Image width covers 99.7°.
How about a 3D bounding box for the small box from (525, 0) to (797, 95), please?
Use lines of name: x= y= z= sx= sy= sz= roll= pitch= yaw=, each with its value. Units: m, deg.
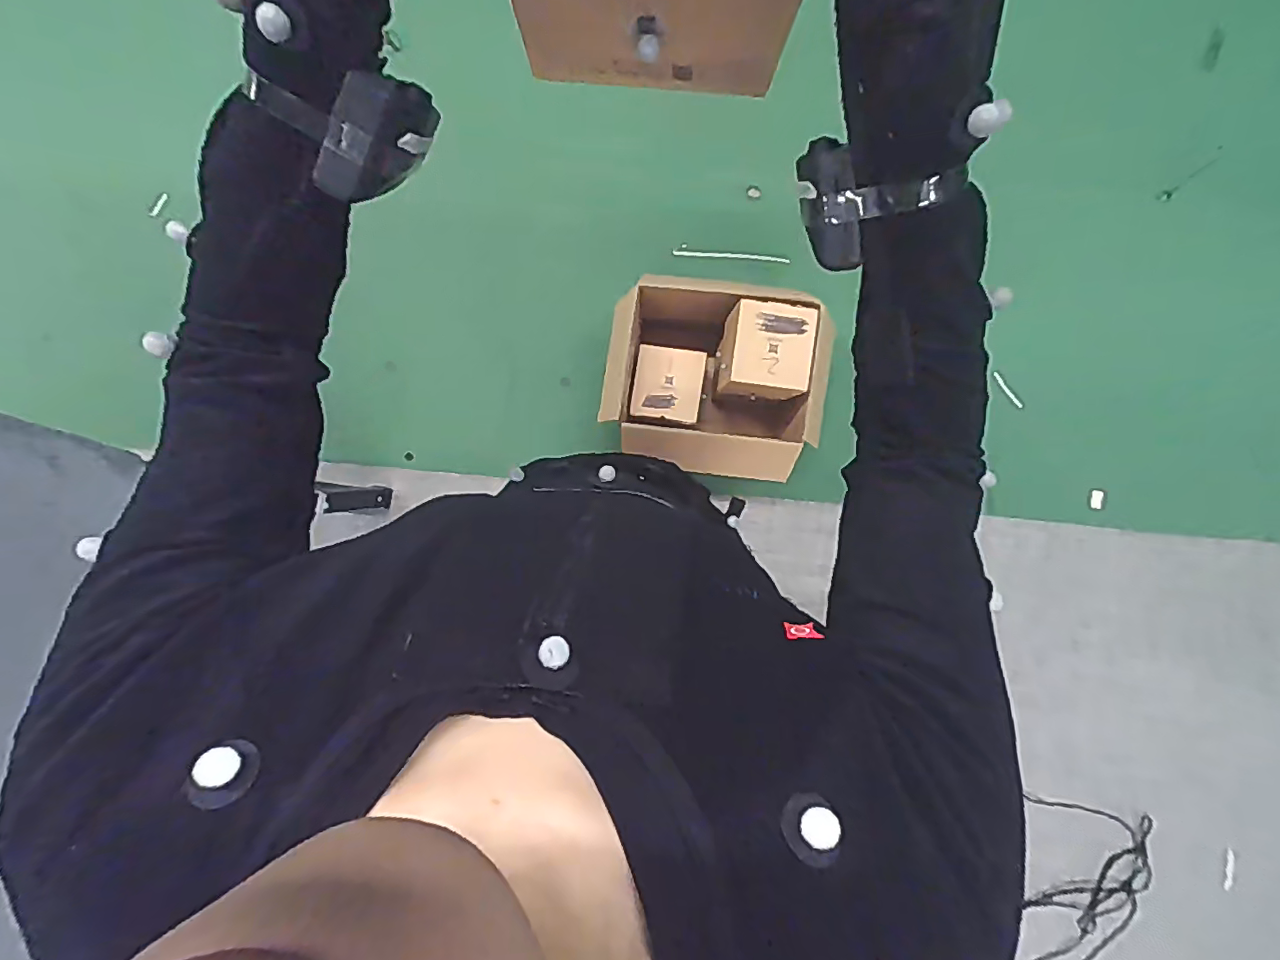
small box: x=0.014 y=-0.358 z=0.293 sx=0.168 sy=0.176 sz=0.179 roll=4 pitch=94 yaw=0
